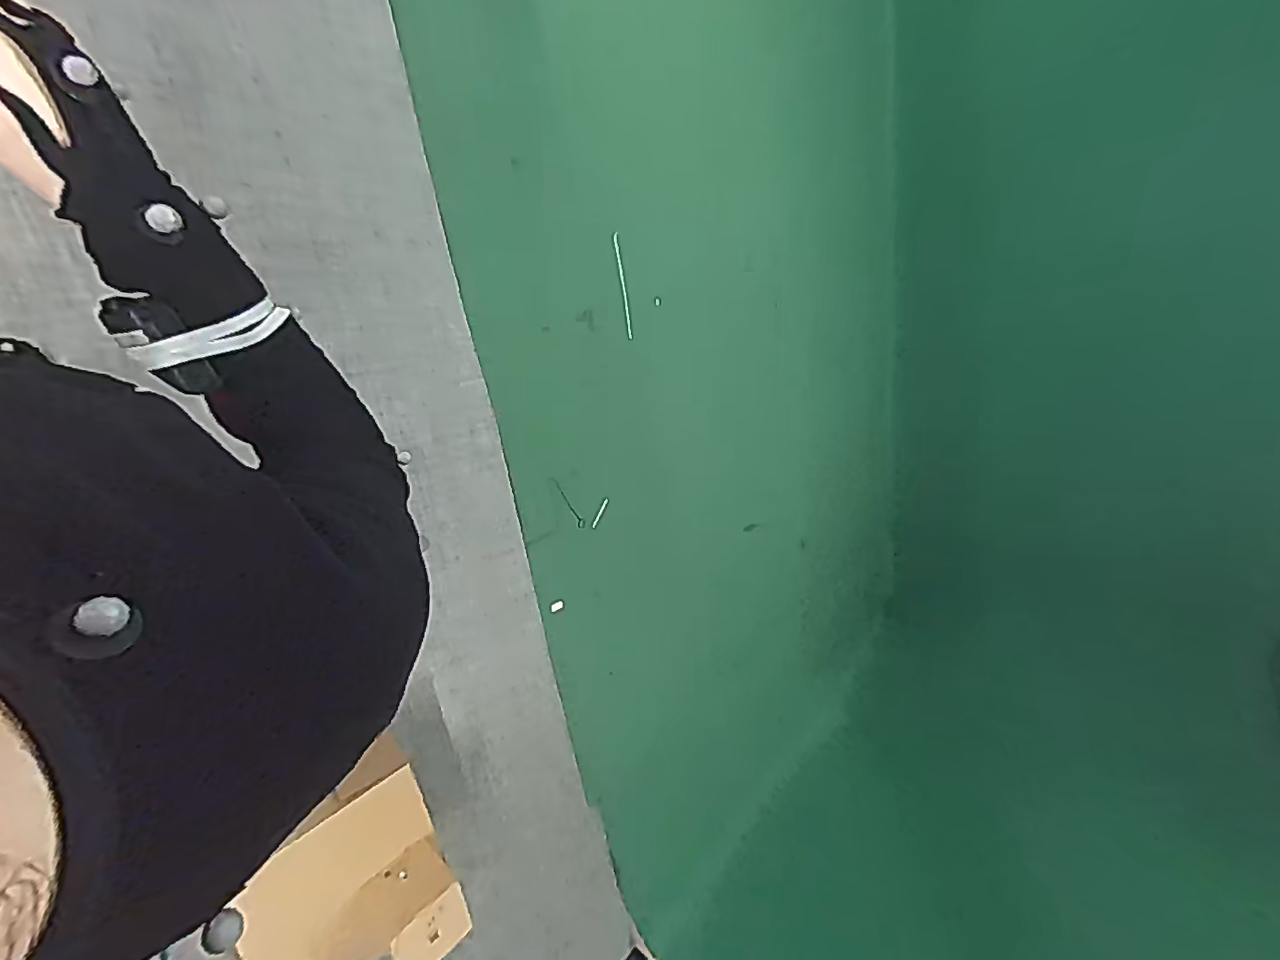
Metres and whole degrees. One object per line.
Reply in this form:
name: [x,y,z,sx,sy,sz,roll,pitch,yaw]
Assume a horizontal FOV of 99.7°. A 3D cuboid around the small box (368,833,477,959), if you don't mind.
small box: [-0.518,1.002,1.291,0.168,0.176,0.179,-26,118,-41]
